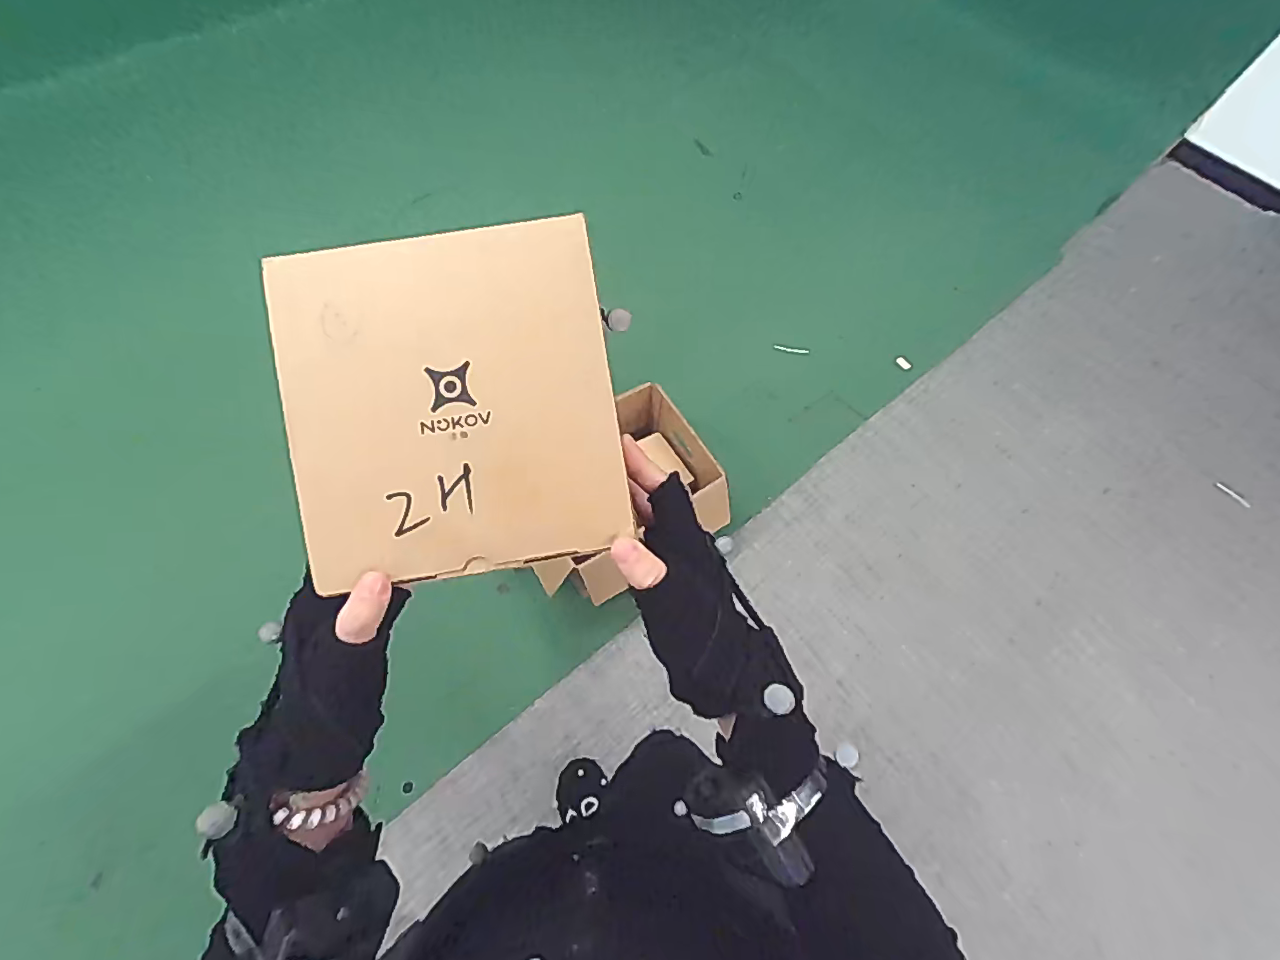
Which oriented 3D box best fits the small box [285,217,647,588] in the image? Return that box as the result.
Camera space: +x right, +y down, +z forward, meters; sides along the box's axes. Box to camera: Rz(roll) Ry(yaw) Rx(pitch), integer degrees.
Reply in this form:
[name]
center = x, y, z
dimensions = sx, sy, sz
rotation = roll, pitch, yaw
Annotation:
[small box]
center = -0.091, -0.039, 0.356
dimensions = 0.168, 0.176, 0.179
rotation = -8, 90, -2
